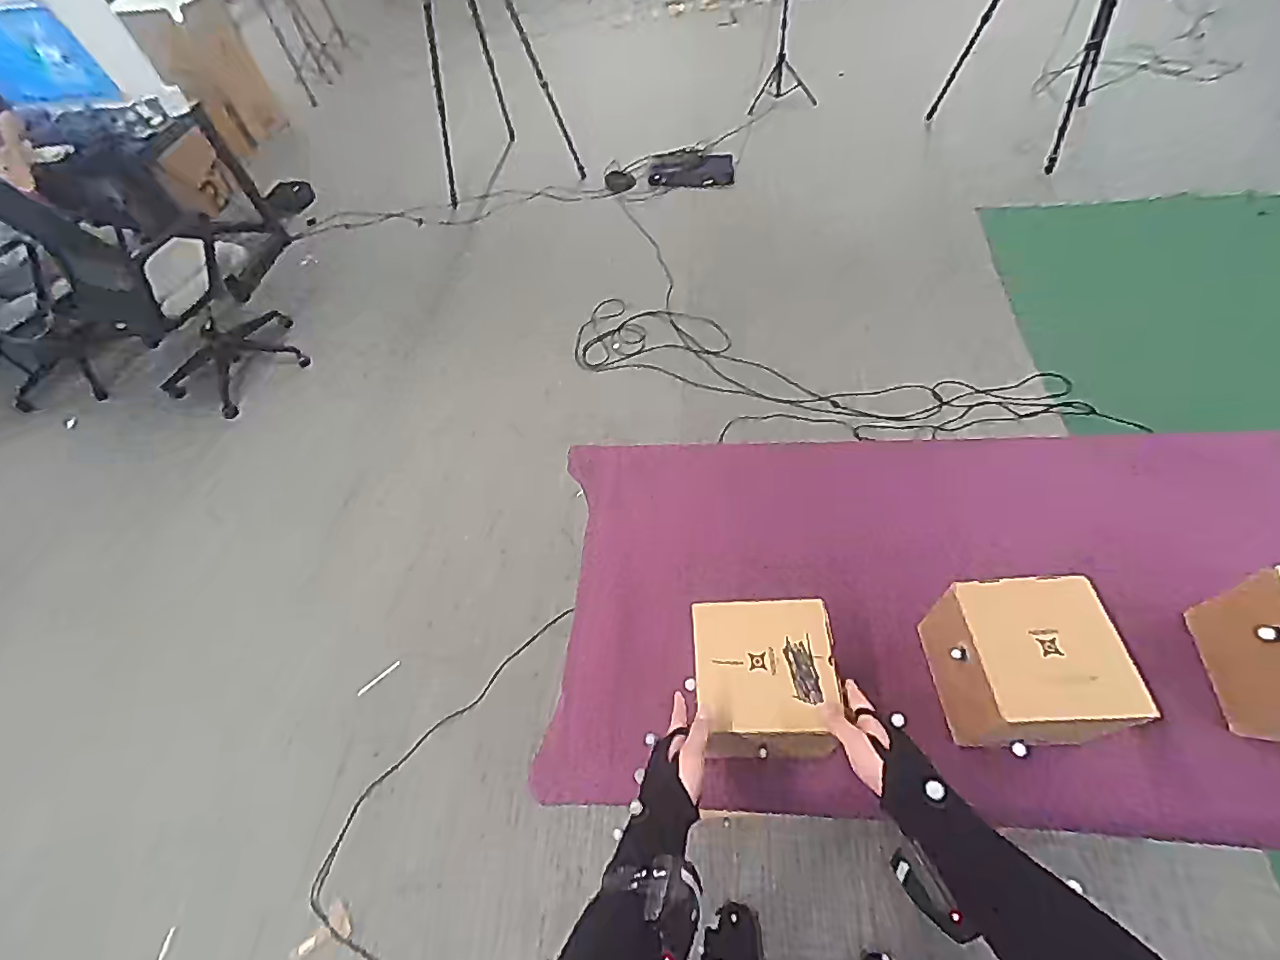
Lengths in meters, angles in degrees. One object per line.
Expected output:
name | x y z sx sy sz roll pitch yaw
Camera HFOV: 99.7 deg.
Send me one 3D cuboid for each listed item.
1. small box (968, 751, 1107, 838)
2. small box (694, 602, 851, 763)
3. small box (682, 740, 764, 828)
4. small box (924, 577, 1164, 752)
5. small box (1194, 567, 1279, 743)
small box | 0.885 0.702 1.227 0.168 0.176 0.179 -5 54 4
small box | 0.165 0.276 0.730 0.179 0.176 0.168 -3 53 6
small box | 0.197 0.730 1.300 0.168 0.176 0.179 -7 54 3
small box | 0.501 0.245 0.710 0.168 0.176 0.179 -4 54 6
small box | 0.865 0.231 0.671 0.168 0.176 0.179 4 54 12
